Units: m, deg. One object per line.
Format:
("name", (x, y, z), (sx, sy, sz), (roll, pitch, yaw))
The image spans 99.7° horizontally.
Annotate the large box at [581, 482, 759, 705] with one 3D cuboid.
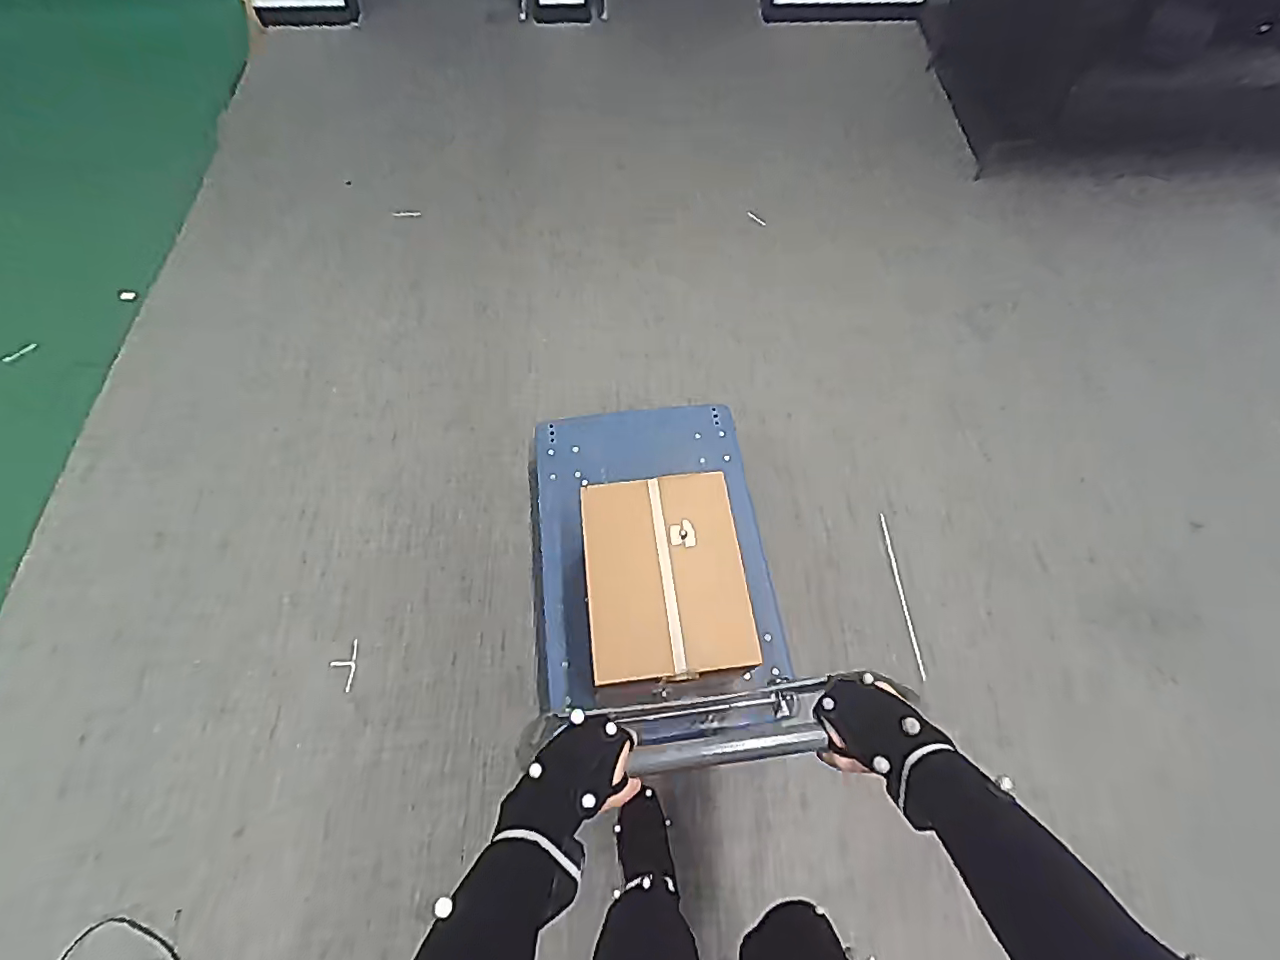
("large box", (0.051, 0.264, 1.226), (0.320, 0.320, 0.408), (-6, 63, -3))
